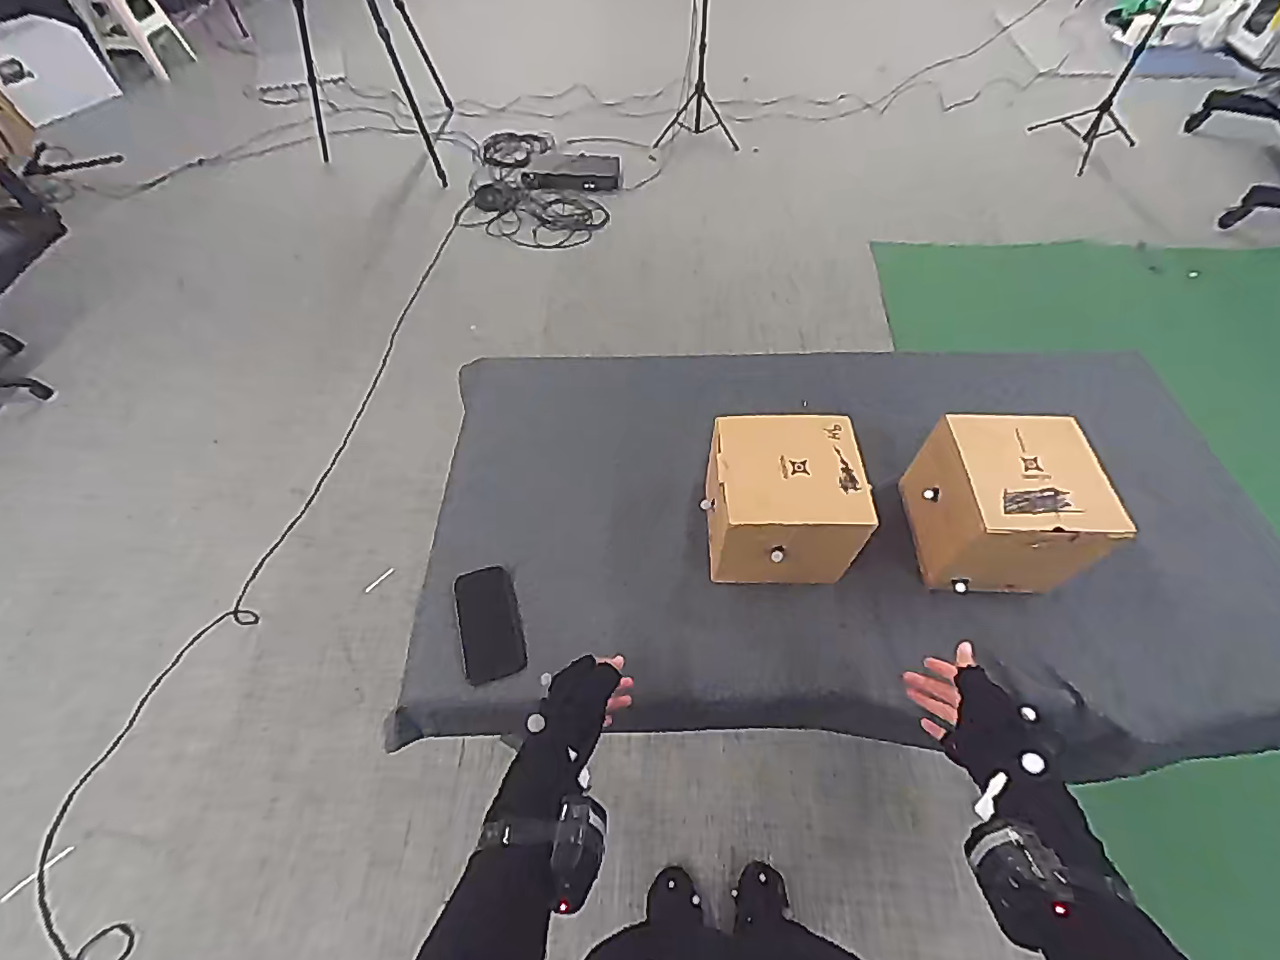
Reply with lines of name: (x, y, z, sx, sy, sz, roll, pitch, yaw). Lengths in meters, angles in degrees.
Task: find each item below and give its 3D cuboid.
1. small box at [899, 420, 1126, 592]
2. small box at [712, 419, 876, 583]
small box: (0.476, 0.039, 0.728, 0.168, 0.176, 0.179, 2, 55, 2)
small box: (0.191, 0.034, 0.736, 0.179, 0.176, 0.168, 0, 56, 1)
